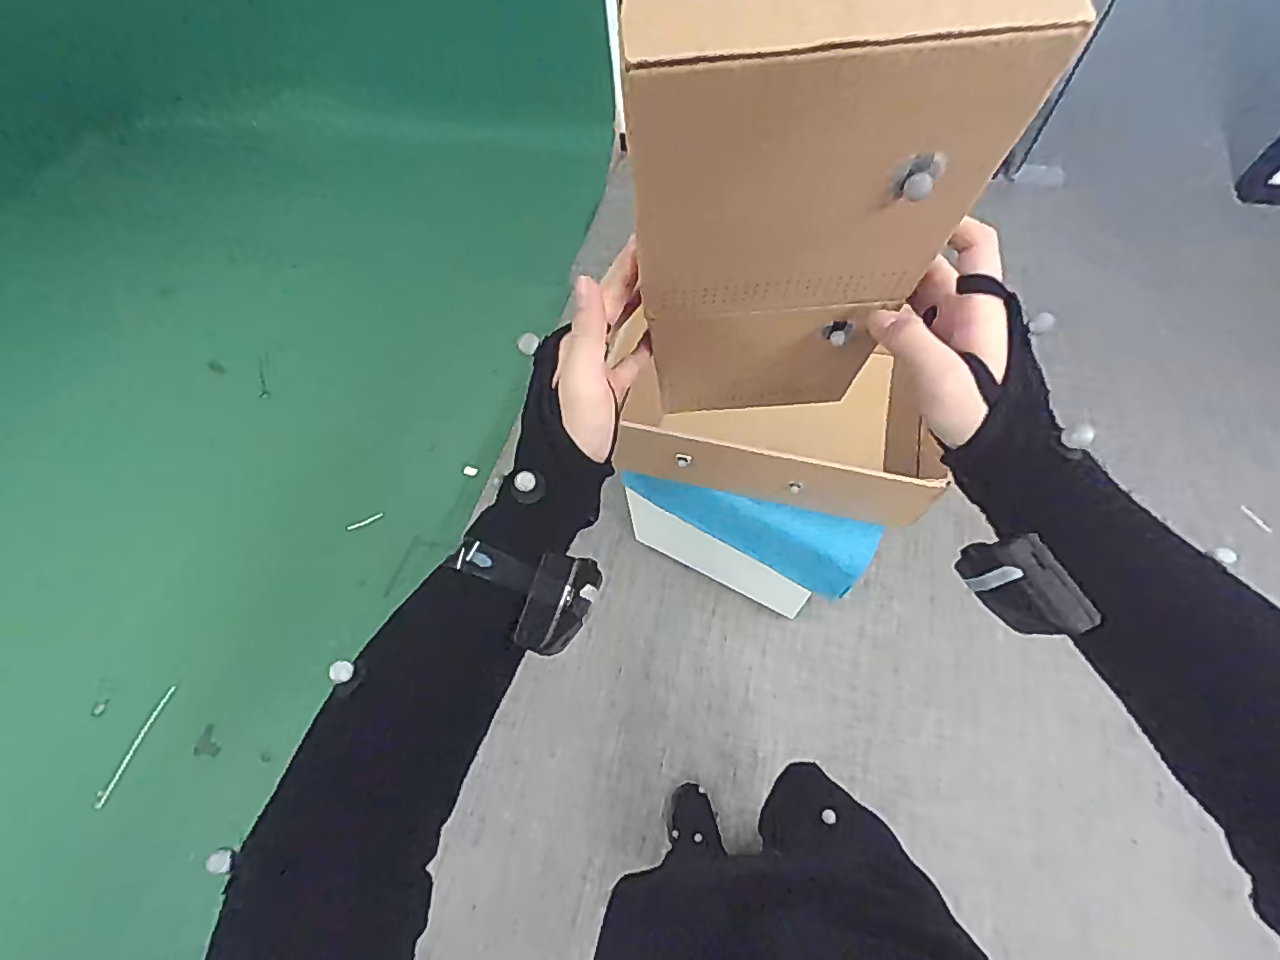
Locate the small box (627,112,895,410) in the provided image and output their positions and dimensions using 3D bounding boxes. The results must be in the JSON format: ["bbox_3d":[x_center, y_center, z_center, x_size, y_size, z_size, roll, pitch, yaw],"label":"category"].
[{"bbox_3d":[0.088,-0.168,0.463,0.179,0.176,0.168,-4,74,3],"label":"small box"}]
